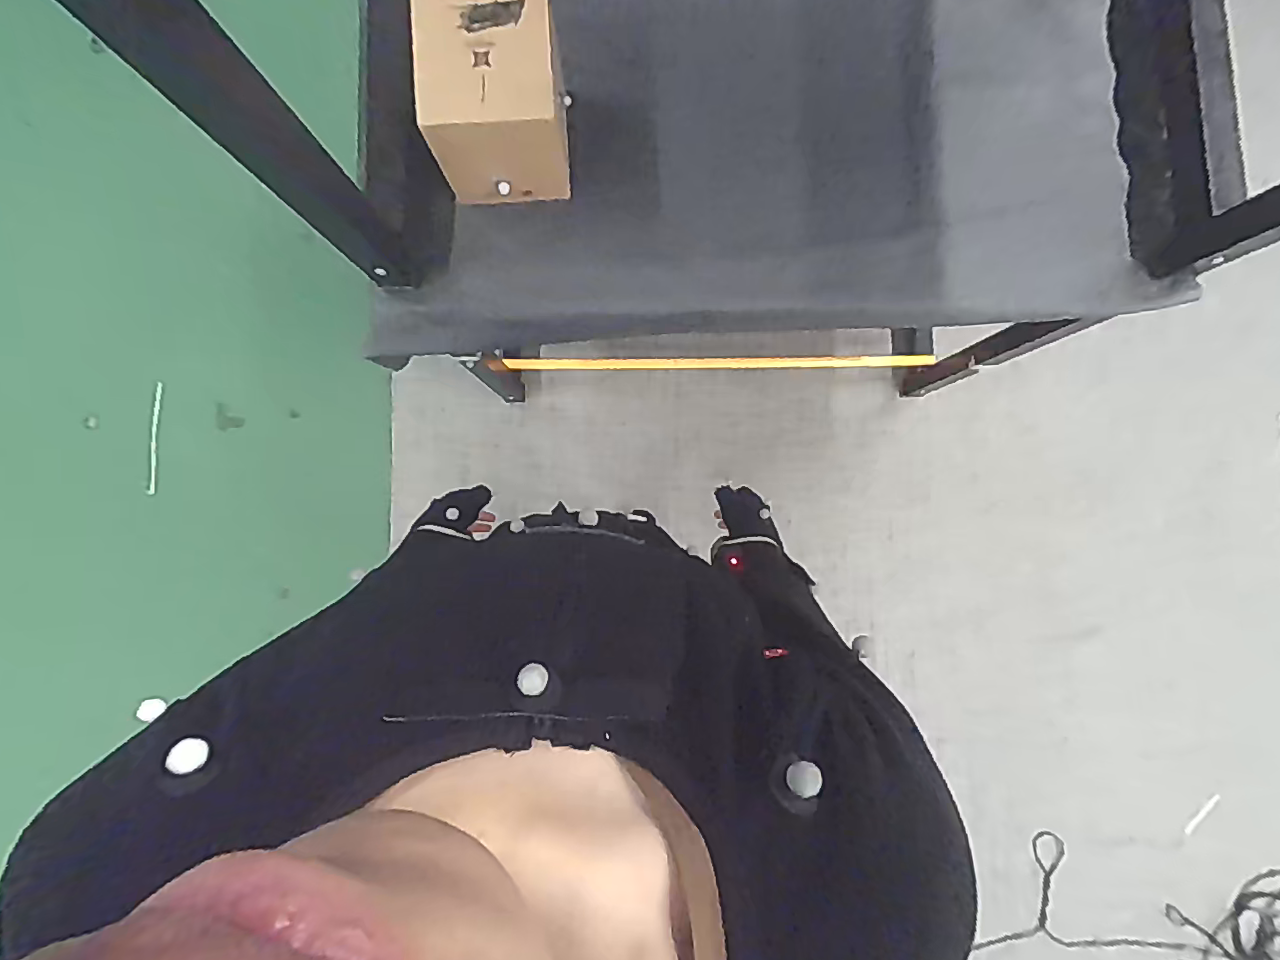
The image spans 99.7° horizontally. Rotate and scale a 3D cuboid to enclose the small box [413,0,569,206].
[{"bbox_3d":[-0.189,-0.499,0.723,0.168,0.176,0.179,-4,87,-1],"label":"small box"}]
